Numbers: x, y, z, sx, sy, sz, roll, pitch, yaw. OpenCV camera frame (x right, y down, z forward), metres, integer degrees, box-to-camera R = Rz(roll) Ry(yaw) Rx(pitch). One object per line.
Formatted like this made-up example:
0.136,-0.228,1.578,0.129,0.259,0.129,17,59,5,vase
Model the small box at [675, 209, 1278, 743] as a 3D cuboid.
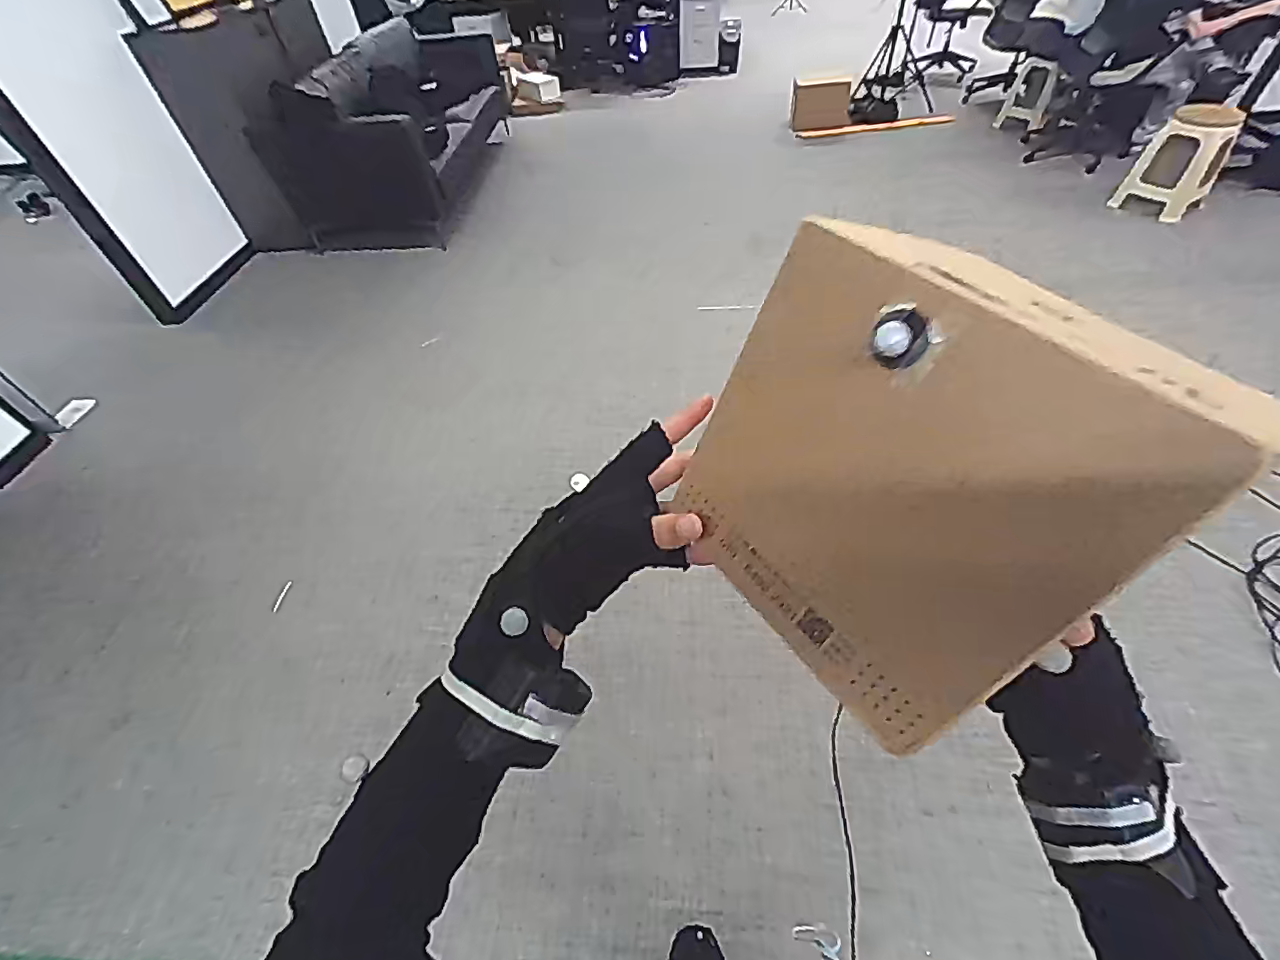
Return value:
0.148,-0.008,0.277,0.179,0.176,0.168,-11,46,-40,small box
